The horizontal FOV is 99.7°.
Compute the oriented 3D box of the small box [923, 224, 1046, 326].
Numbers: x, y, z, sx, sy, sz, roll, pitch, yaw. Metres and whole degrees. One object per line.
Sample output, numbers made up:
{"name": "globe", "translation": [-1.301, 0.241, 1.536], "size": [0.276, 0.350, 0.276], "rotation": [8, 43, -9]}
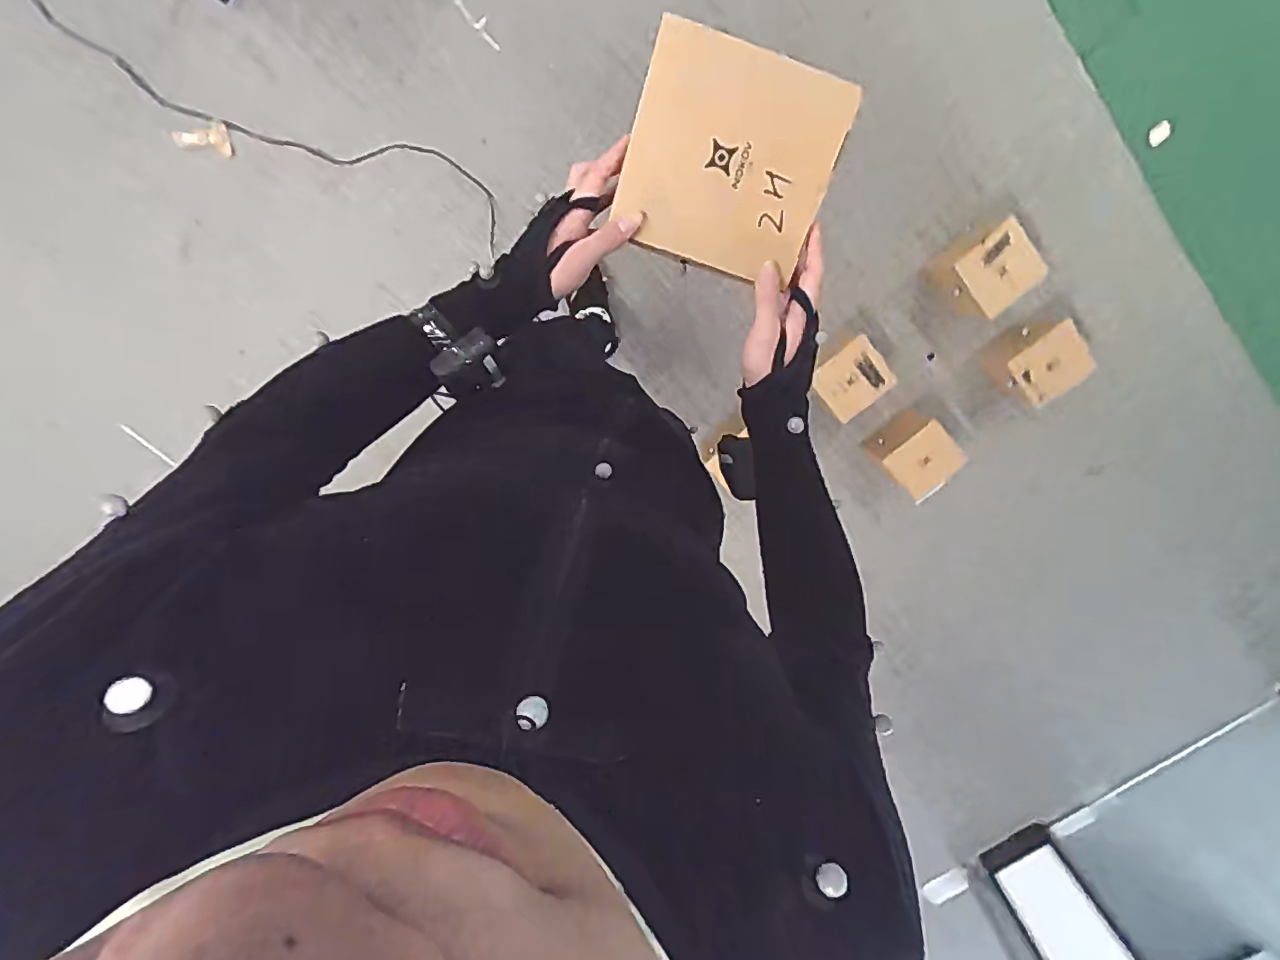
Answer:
{"name": "small box", "translation": [0.866, -0.515, 1.379], "size": [0.168, 0.176, 0.179], "rotation": [-40, 105, 13]}

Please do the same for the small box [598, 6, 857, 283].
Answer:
{"name": "small box", "translation": [0.071, -0.299, 0.527], "size": [0.179, 0.176, 0.168], "rotation": [17, 111, -5]}

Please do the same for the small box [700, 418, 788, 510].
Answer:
{"name": "small box", "translation": [0.288, -0.053, 1.542], "size": [0.179, 0.176, 0.168], "rotation": [-42, 104, 14]}

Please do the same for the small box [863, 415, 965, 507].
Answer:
{"name": "small box", "translation": [0.763, -0.058, 1.535], "size": [0.179, 0.176, 0.168], "rotation": [-41, 104, 12]}

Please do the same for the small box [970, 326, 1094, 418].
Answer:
{"name": "small box", "translation": [1.043, -0.298, 1.451], "size": [0.179, 0.176, 0.168], "rotation": [-39, 104, 11]}
